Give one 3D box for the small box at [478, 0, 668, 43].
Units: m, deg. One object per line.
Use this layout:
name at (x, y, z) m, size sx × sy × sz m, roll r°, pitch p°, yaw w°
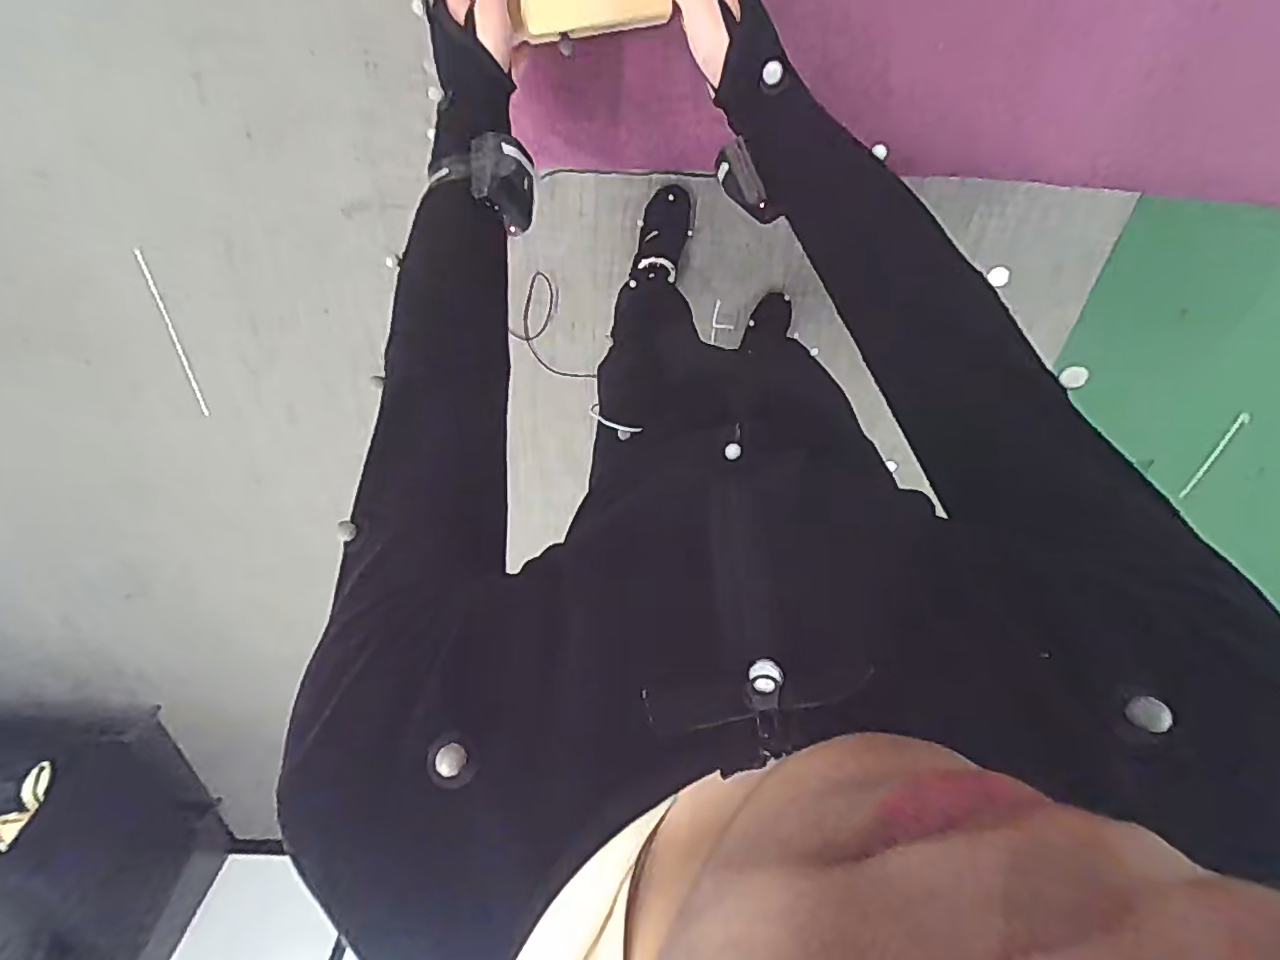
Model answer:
small box at (-0.063, -0.510, 0.479) m, size 0.168 × 0.176 × 0.179 m, roll -6°, pitch 124°, yaw 5°
